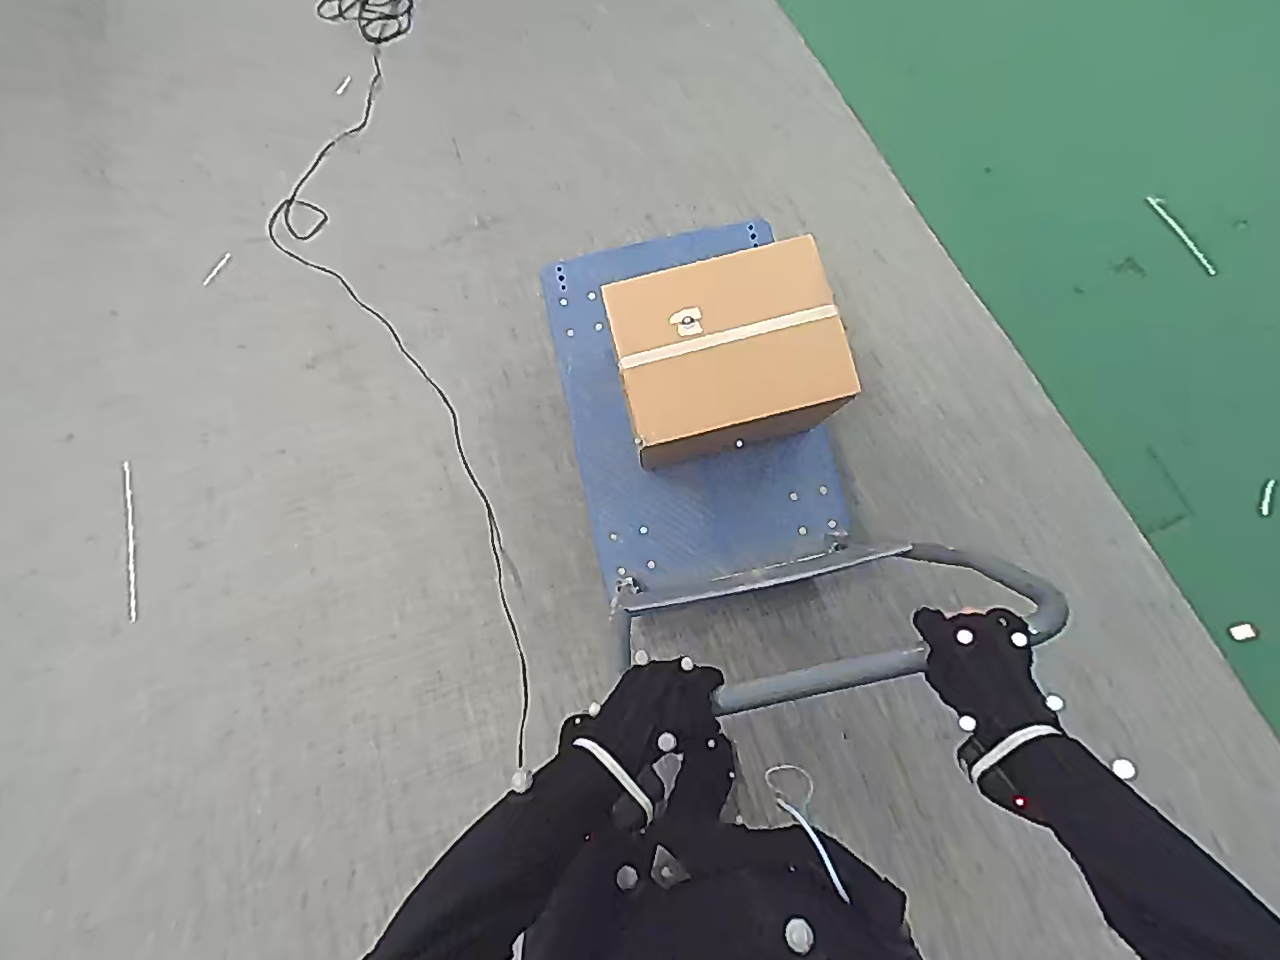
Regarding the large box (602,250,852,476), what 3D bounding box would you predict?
[{"bbox_3d":[0.163,-0.219,1.142,0.408,0.320,0.320,-15,82,1],"label":"large box"}]
